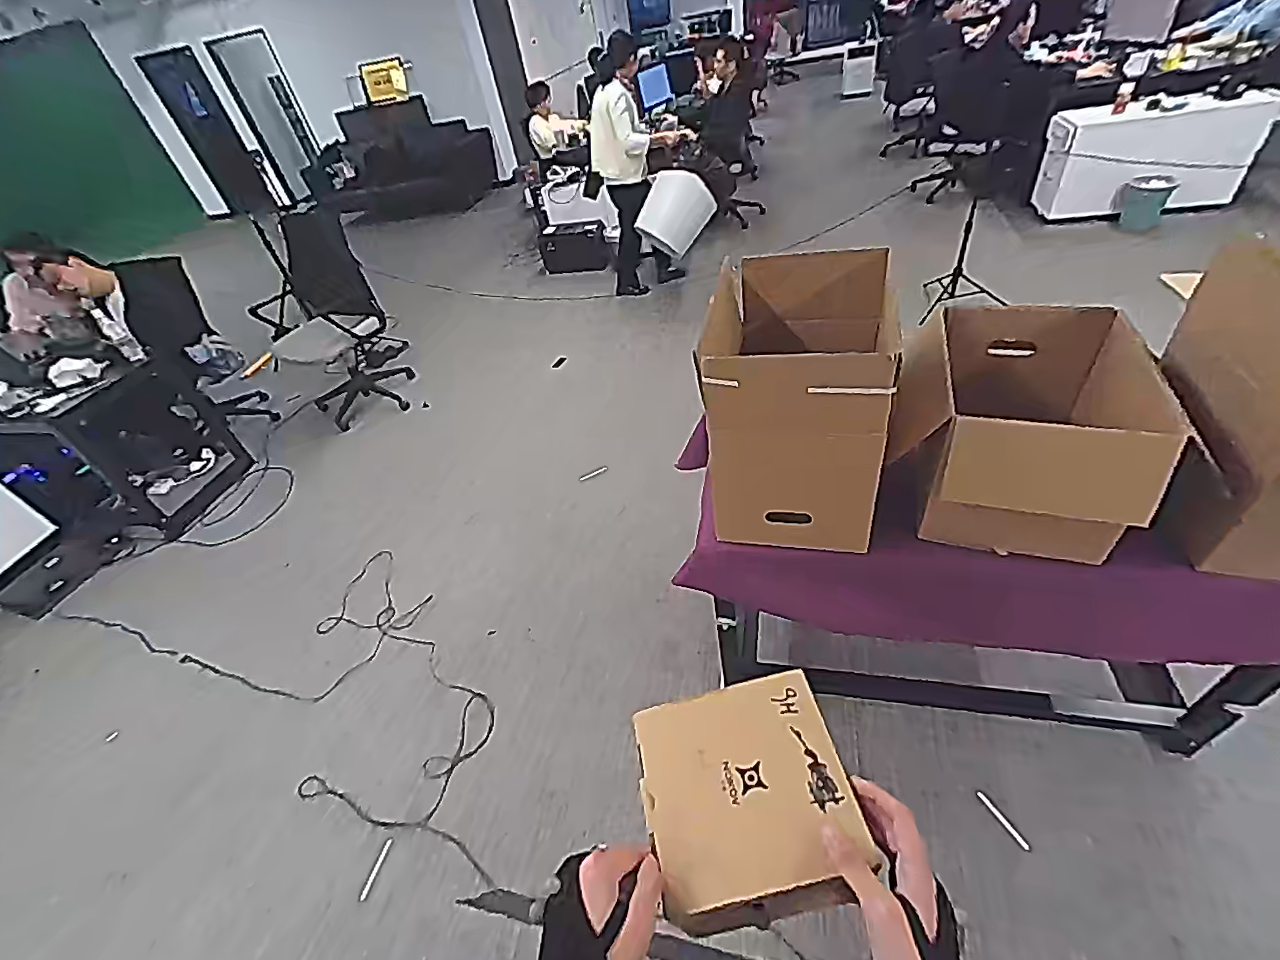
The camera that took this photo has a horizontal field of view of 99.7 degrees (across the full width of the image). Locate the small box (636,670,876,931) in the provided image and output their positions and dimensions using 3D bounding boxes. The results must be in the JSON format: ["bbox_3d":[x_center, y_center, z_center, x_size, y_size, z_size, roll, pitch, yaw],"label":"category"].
[{"bbox_3d":[0.108,0.318,0.533,0.179,0.176,0.168,-15,45,2],"label":"small box"}]
